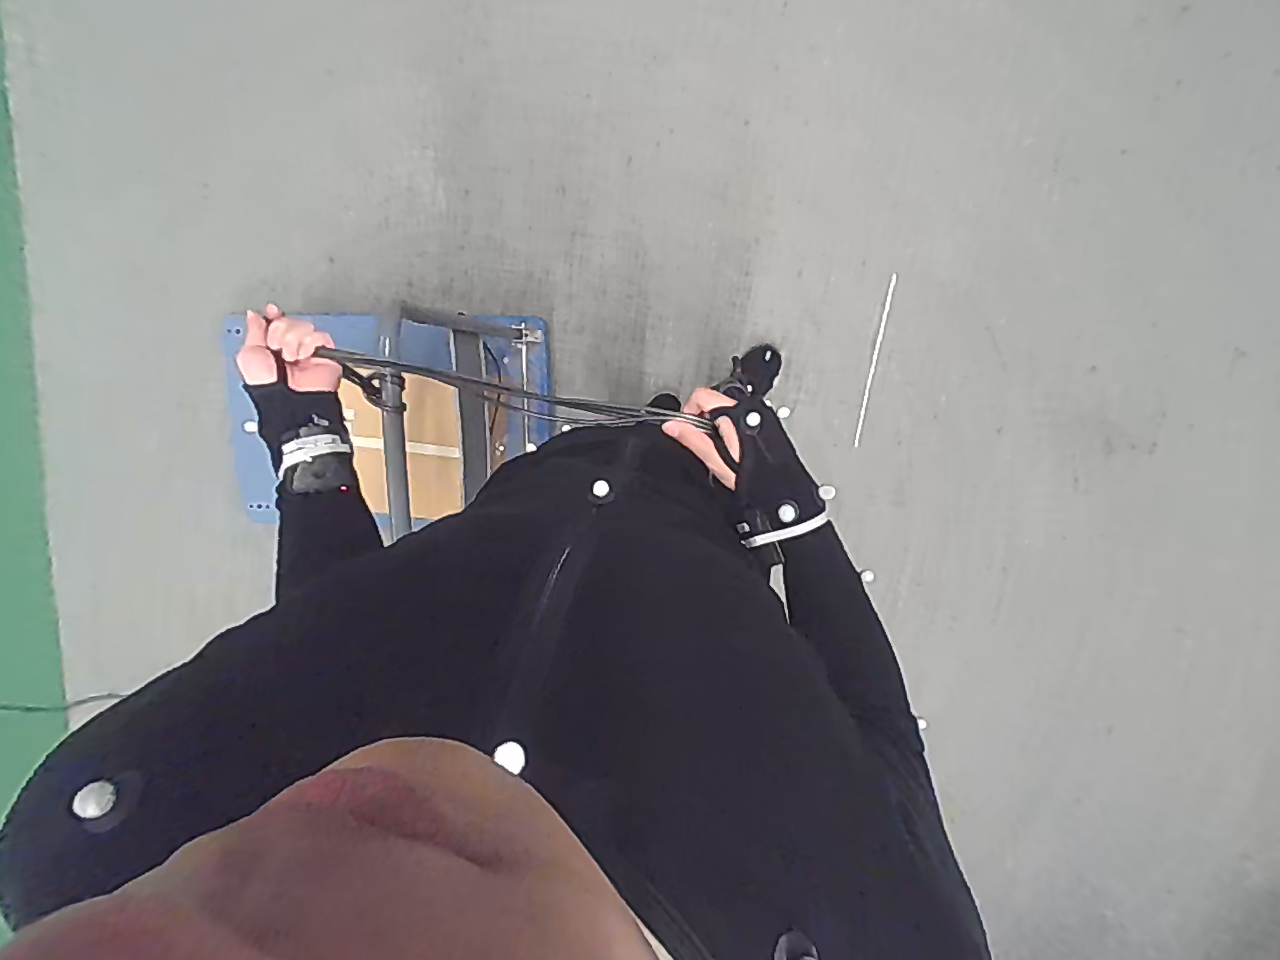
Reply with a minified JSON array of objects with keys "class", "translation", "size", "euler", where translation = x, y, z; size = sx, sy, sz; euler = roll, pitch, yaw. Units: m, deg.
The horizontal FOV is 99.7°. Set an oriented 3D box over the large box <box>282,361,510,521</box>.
[{"class":"large box","translation":[-0.552,-0.110,1.296],"size":[0.408,0.320,0.320],"euler":[7,103,2]}]
